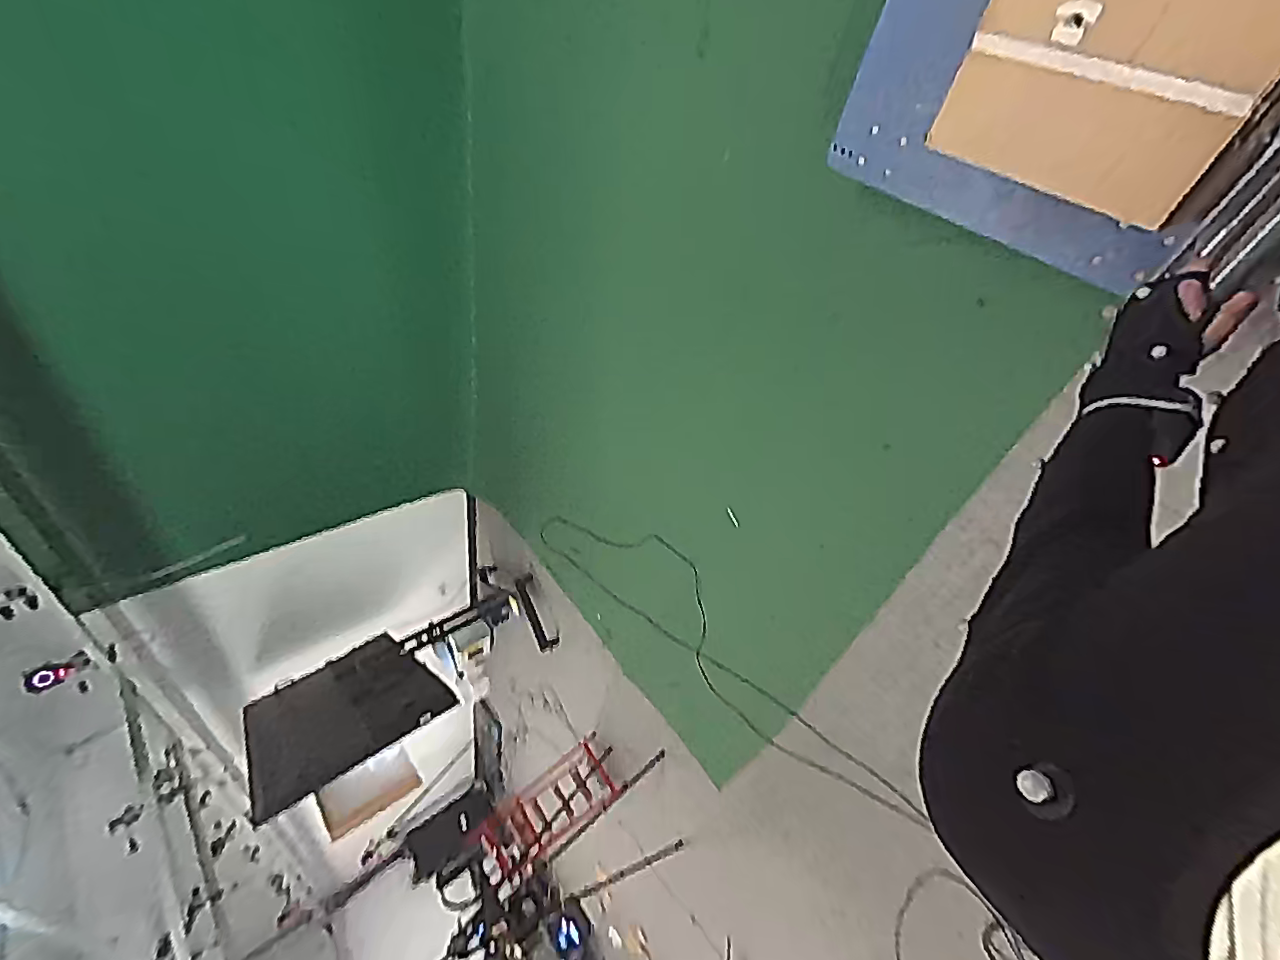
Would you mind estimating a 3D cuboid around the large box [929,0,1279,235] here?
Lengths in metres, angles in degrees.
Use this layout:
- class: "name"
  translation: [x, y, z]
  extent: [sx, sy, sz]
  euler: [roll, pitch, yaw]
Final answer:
- class: "large box"
  translation: [0.804, -0.643, 0.895]
  extent: [0.408, 0.320, 0.320]
  euler: [46, 139, 29]
